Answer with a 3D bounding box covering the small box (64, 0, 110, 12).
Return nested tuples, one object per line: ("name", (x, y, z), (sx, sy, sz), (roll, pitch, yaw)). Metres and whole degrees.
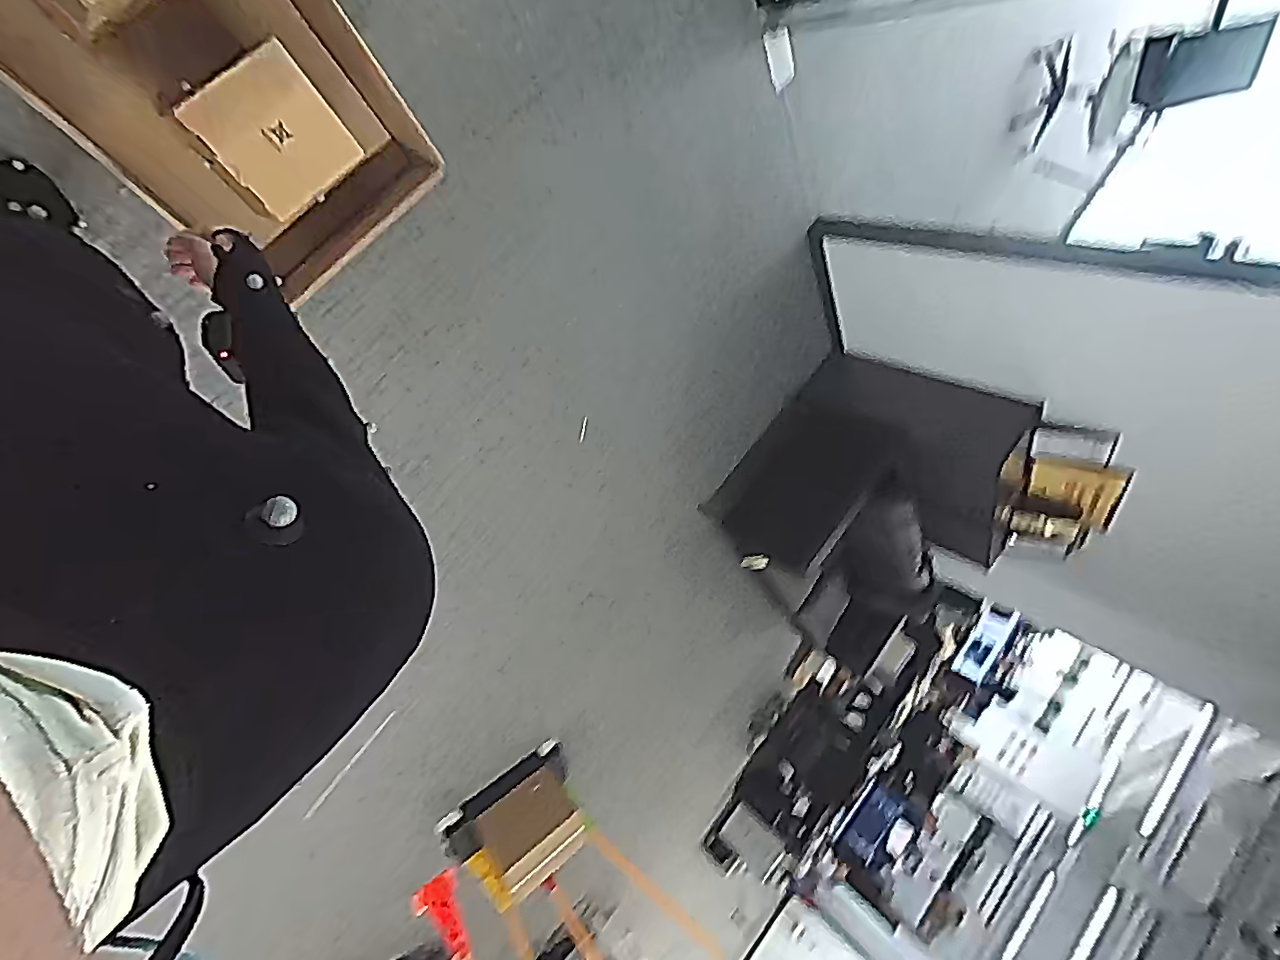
("small box", (-0.564, -0.607, 0.529), (0.179, 0.176, 0.168), (-49, 140, -12))
